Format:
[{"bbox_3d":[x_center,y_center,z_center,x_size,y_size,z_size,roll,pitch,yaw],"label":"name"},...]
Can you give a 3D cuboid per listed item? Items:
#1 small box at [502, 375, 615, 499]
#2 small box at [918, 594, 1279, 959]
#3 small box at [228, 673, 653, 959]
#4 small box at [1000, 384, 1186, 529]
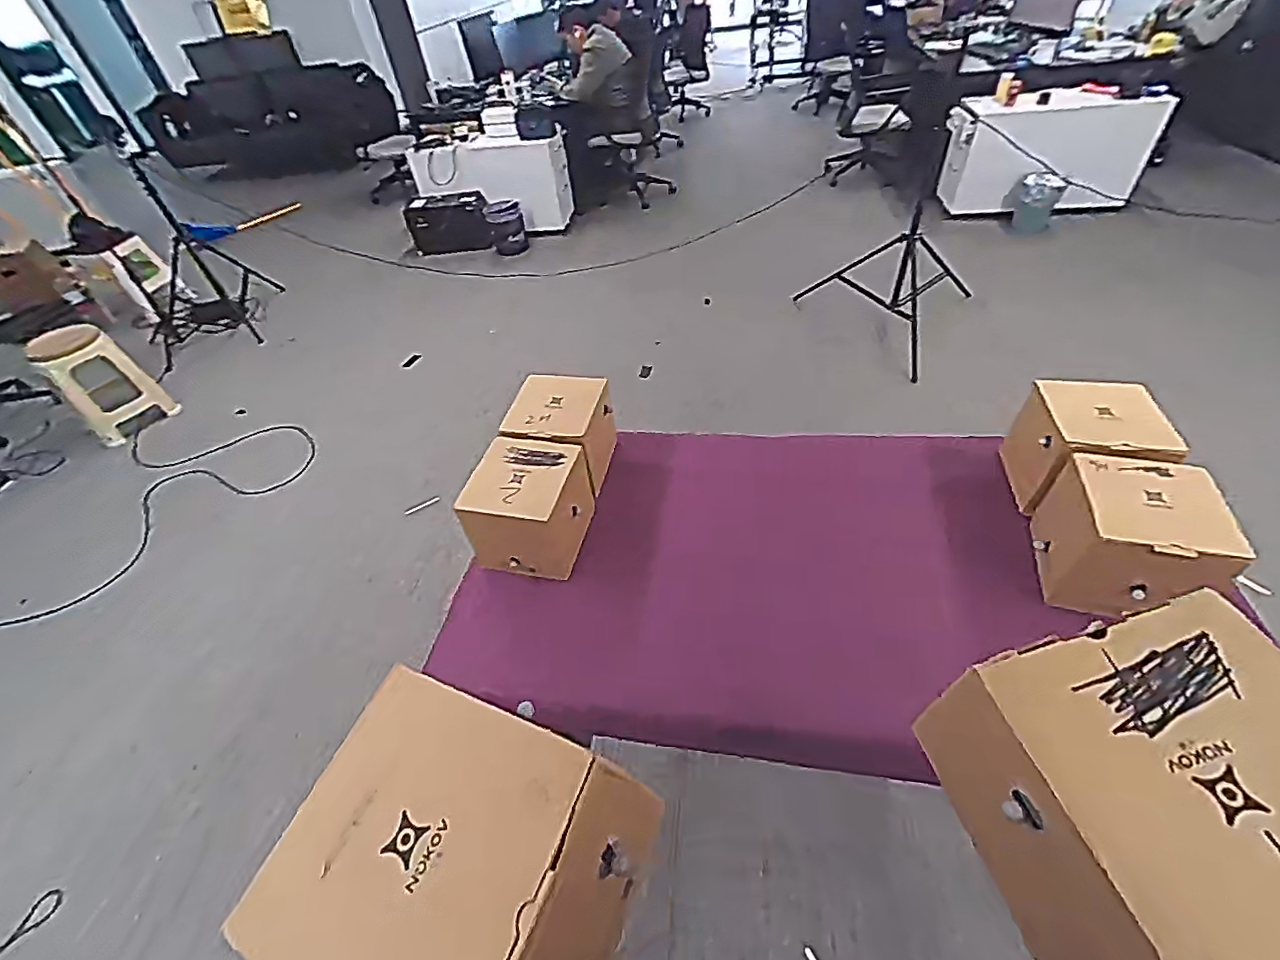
[{"bbox_3d":[-0.151,-0.086,1.080,0.168,0.176,0.179,6,47,12],"label":"small box"},{"bbox_3d":[0.318,0.207,0.356,0.168,0.176,0.179,-18,53,-1],"label":"small box"},{"bbox_3d":[-0.109,0.263,0.371,0.179,0.176,0.168,9,54,27],"label":"small box"},{"bbox_3d":[0.754,-0.043,0.930,0.168,0.176,0.179,6,46,12],"label":"small box"}]
